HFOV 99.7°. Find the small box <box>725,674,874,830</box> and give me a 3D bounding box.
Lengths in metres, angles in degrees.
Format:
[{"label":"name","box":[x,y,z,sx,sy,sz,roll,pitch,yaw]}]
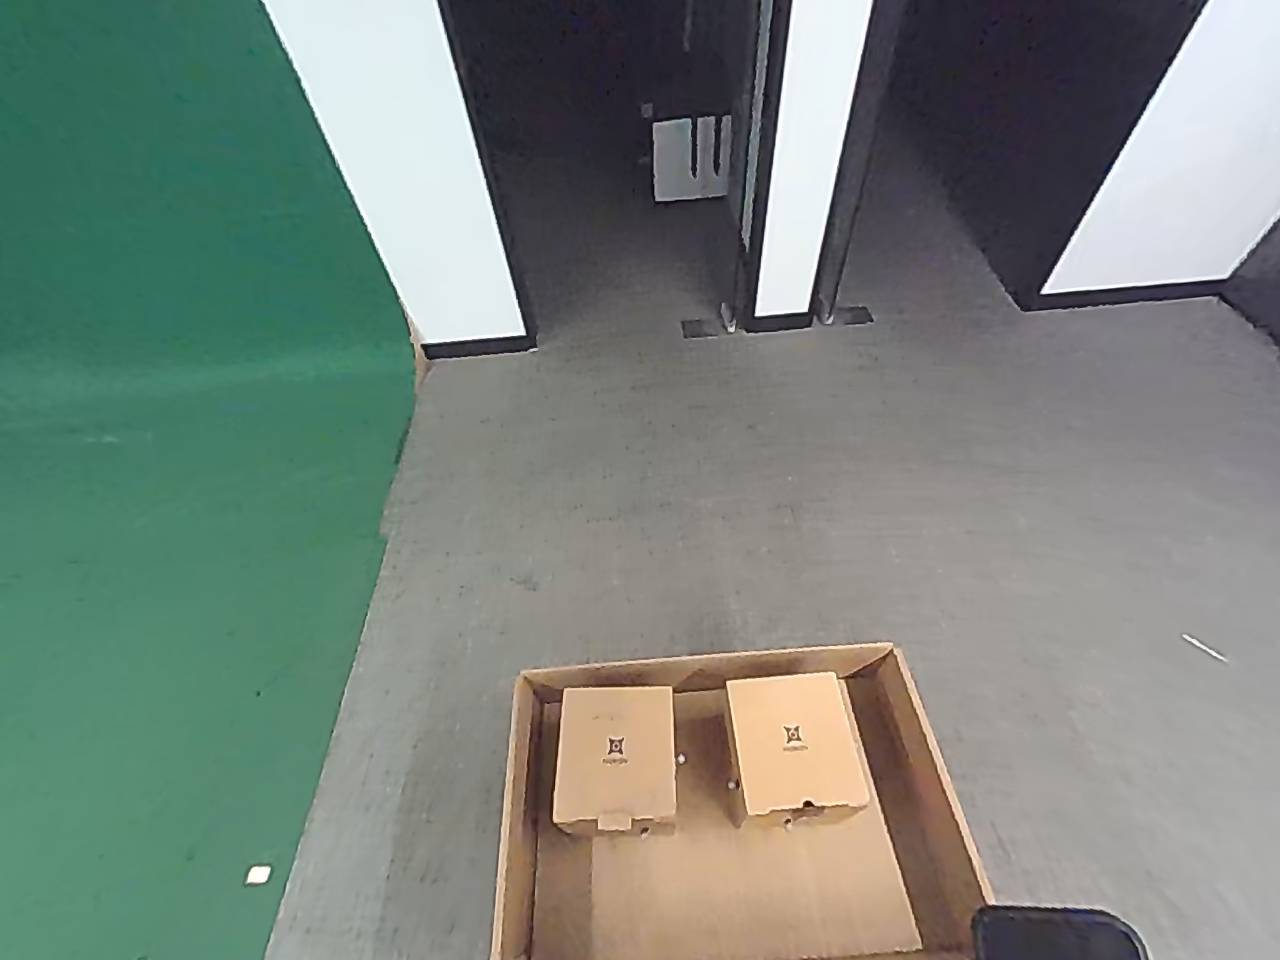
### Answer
[{"label":"small box","box":[0.224,0.413,0.816,0.168,0.176,0.179,-6,52,2]}]
